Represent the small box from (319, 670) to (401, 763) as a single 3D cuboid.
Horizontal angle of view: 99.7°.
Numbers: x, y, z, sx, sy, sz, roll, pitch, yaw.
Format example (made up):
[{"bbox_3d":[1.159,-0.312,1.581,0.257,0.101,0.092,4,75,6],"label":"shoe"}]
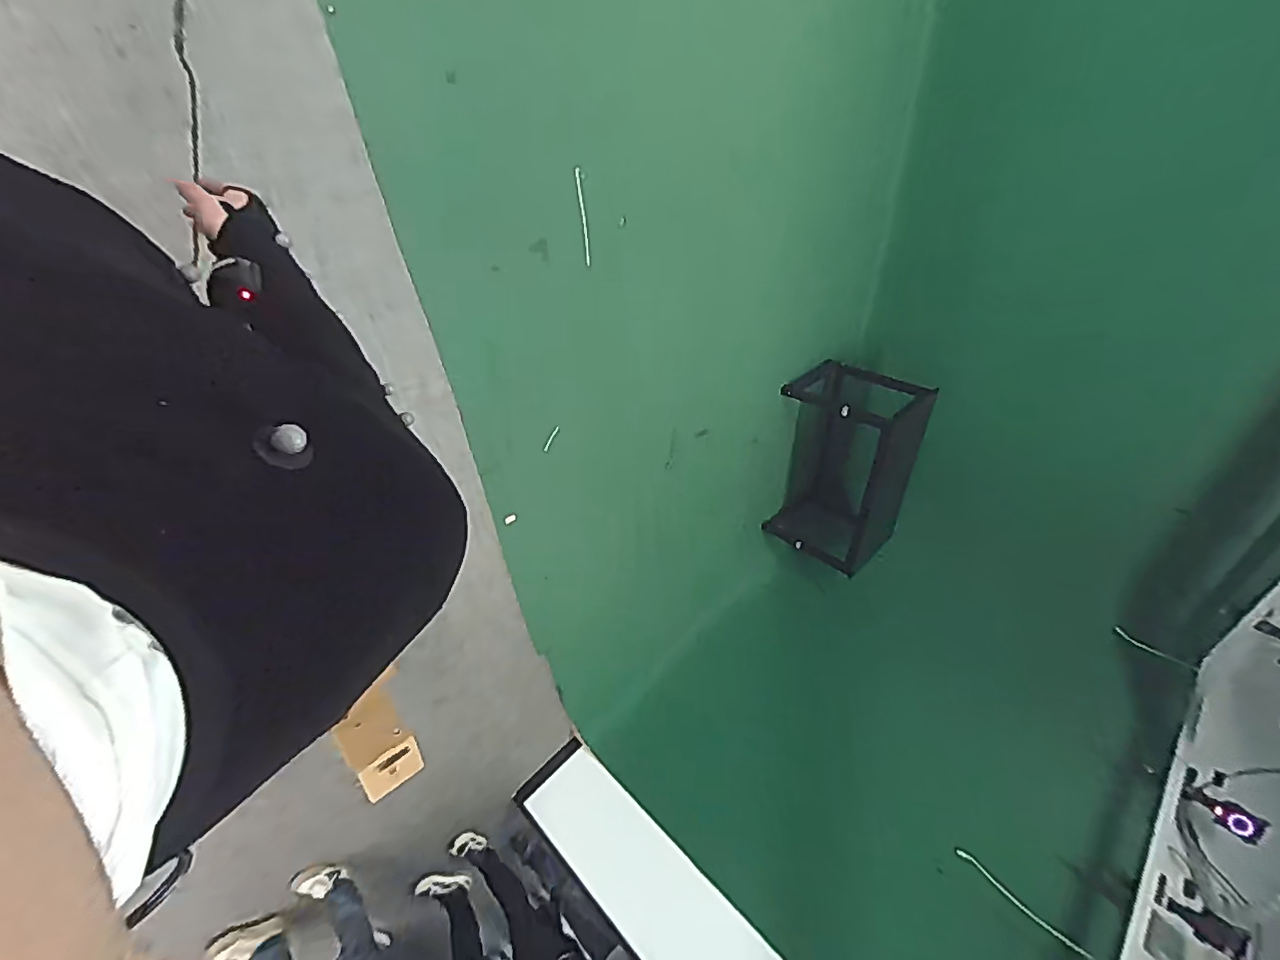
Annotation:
[{"bbox_3d":[-0.912,0.761,1.753,0.179,0.176,0.168,-28,134,-37],"label":"small box"}]
